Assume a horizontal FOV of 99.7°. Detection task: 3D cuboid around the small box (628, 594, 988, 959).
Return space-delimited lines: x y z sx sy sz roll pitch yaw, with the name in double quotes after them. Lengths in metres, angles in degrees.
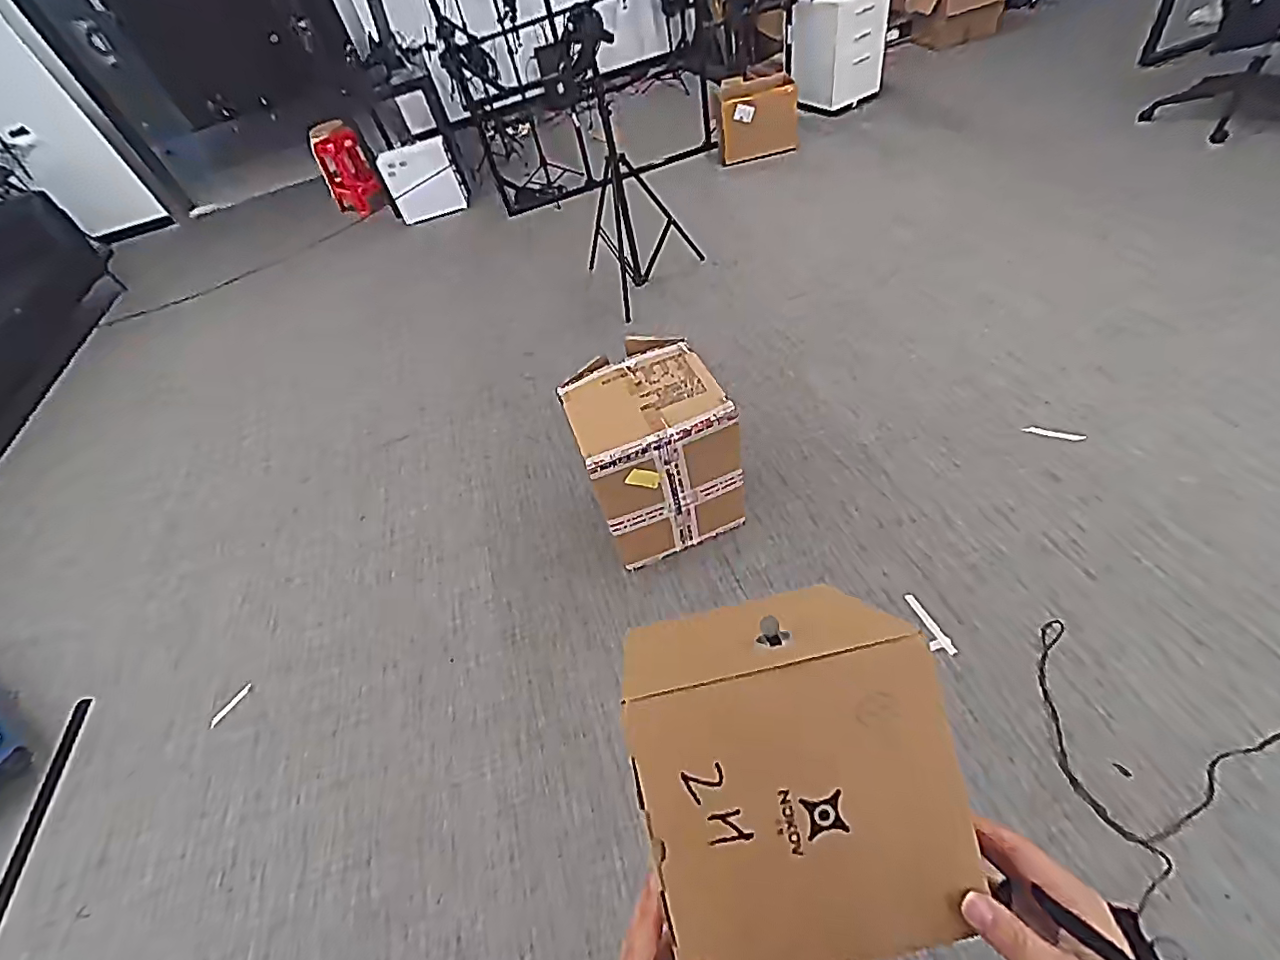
0.092 0.187 0.379 0.179 0.176 0.168 -13 87 0 "small box"
